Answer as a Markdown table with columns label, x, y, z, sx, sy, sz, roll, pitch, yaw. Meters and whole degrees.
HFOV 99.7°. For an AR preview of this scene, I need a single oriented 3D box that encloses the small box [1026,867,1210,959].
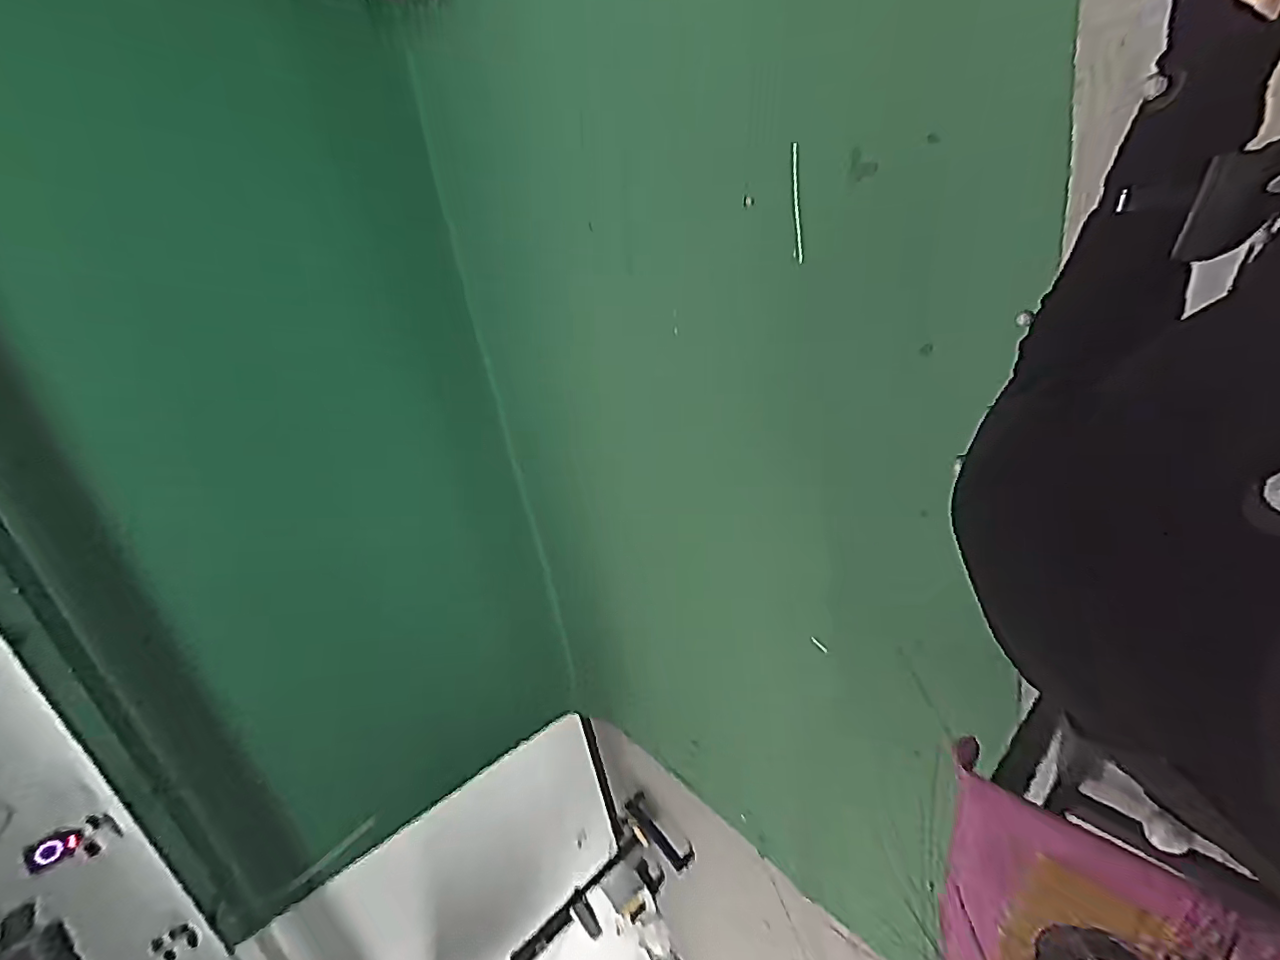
| label | x | y | z | sx | sy | sz | roll | pitch | yaw |
| --- | --- | --- | --- | --- | --- | --- | --- | --- | --- |
| small box | 0.712 | 0.738 | 0.816 | 0.179 | 0.176 | 0.168 | 12 | 120 | 50 |
